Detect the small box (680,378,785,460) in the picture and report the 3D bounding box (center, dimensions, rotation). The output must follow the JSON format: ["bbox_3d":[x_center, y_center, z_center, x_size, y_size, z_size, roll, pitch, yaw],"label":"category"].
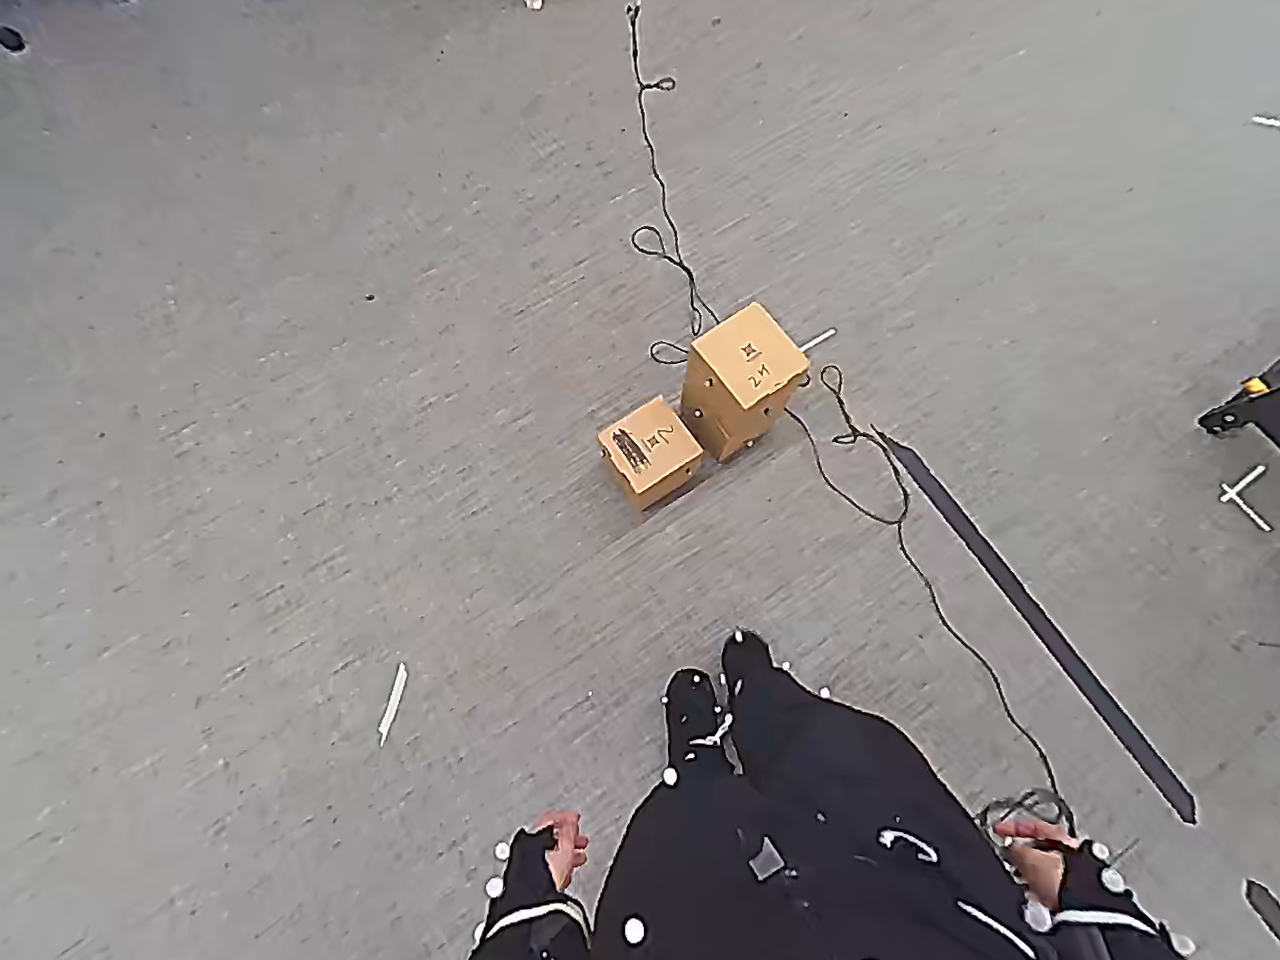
[{"bbox_3d":[0.208,-0.175,1.281,0.168,0.176,0.179,-32,78,-8],"label":"small box"}]

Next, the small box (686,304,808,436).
[{"bbox_3d":[0.209,-0.220,1.123,0.168,0.176,0.179,-34,77,-8],"label":"small box"}]
